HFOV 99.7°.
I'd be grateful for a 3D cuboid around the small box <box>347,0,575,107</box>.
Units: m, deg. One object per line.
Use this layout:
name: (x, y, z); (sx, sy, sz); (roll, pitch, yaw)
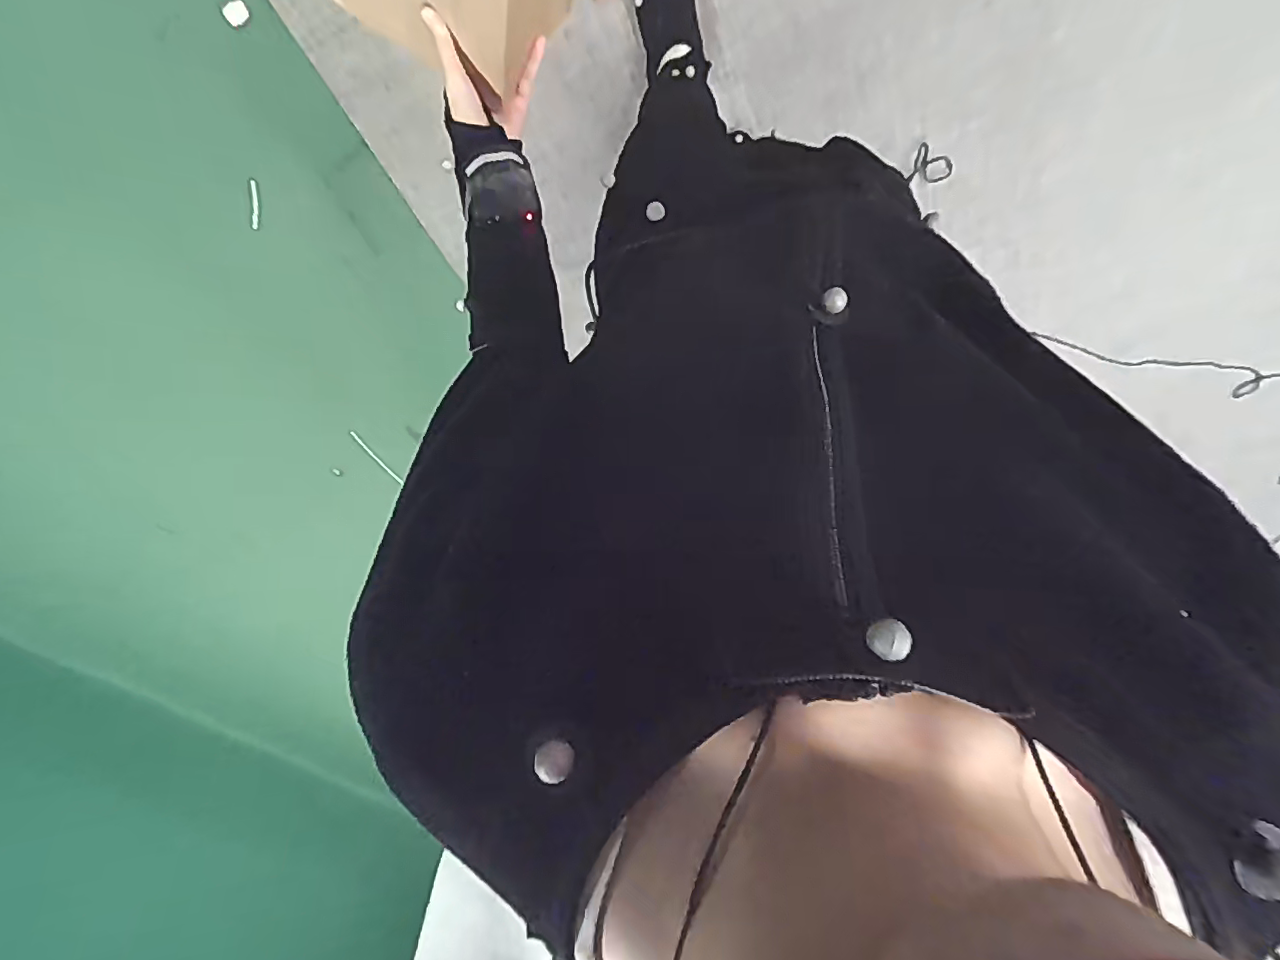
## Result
small box: (-0.142, -0.476, 0.444); (0.179, 0.176, 0.168); (30, 165, -12)
